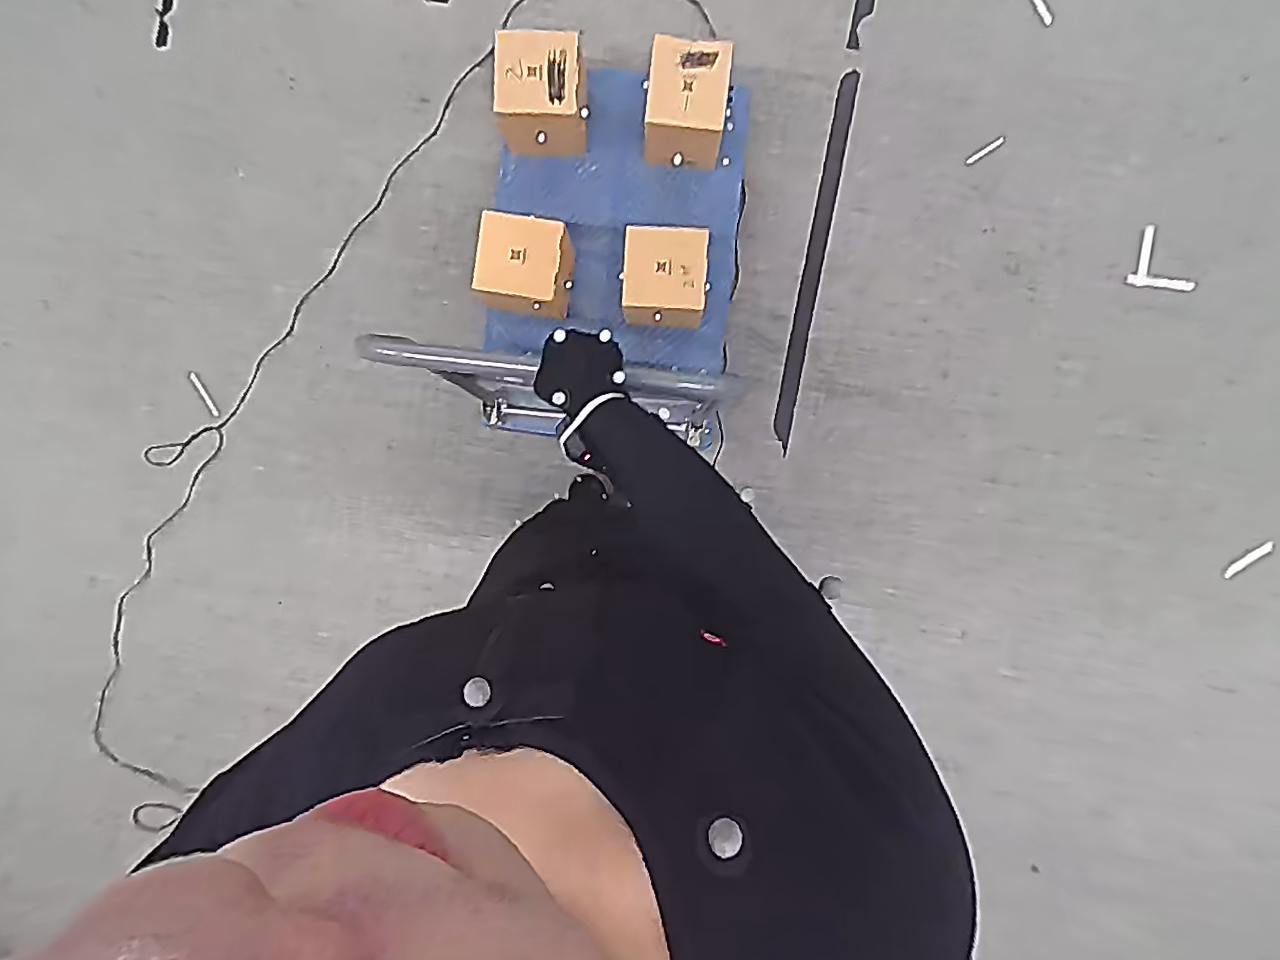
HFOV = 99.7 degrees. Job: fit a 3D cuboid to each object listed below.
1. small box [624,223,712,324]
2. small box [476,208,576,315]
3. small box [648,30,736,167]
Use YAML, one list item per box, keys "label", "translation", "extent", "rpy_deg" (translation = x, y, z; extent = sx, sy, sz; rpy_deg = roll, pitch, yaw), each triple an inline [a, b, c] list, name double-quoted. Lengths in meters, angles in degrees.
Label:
- label: "small box"
  translation: [0.060, -0.452, 1.203]
  extent: [0.179, 0.176, 0.168]
  rpy_deg: [3, 93, 1]
- label: "small box"
  translation: [-0.248, -0.479, 1.210]
  extent: [0.179, 0.176, 0.168]
  rpy_deg: [8, 93, -1]
- label: "small box"
  translation: [0.106, -0.824, 1.181]
  extent: [0.168, 0.176, 0.179]
  rpy_deg: [7, 95, 1]
